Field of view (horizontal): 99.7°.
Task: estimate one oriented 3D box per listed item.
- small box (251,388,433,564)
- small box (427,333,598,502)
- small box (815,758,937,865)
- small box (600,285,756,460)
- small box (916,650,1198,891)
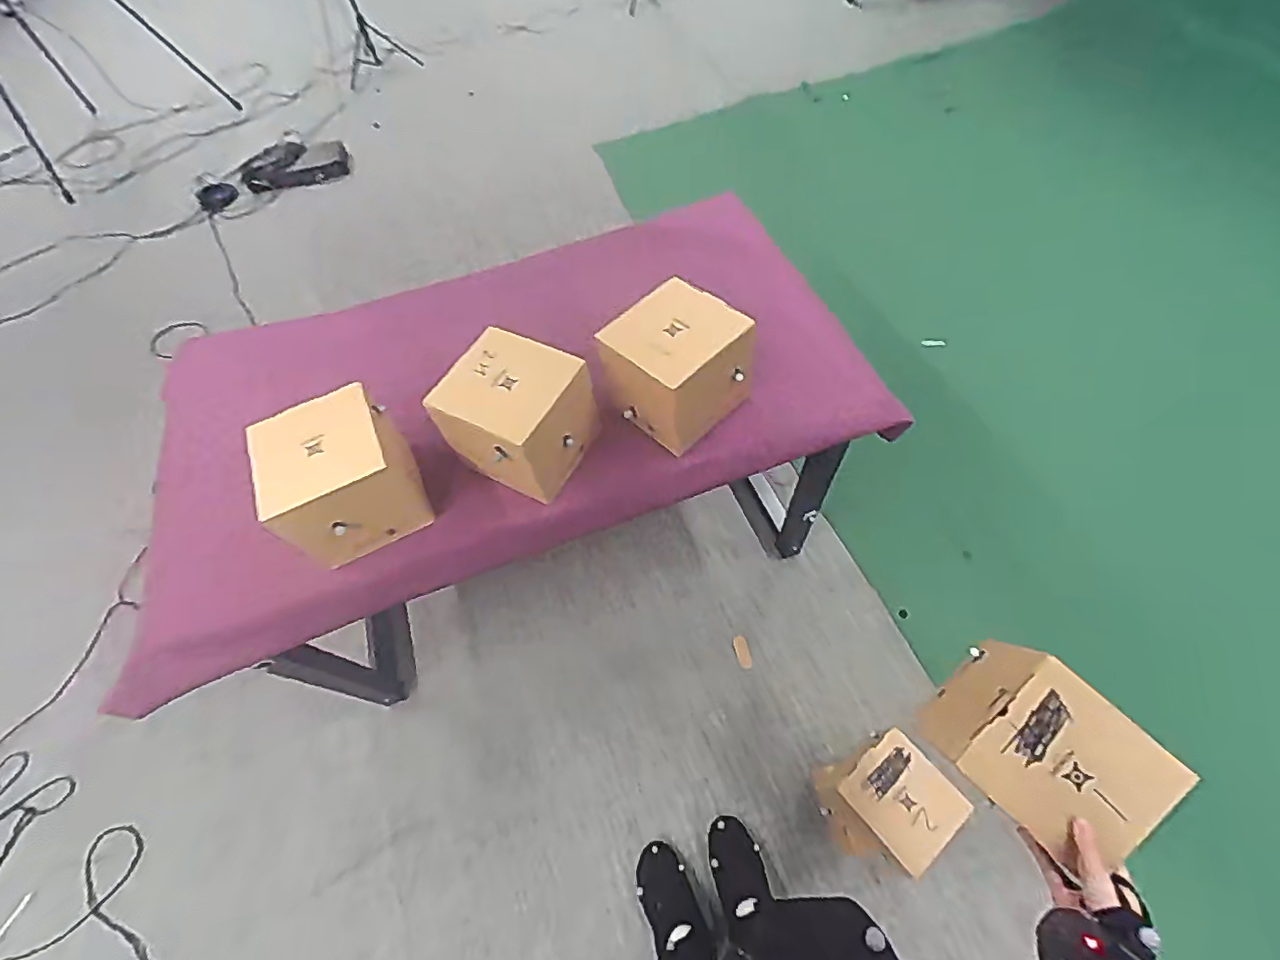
[{"bbox_3d":[-0.431,0.004,0.802,0.168,0.176,0.179,-26,59,-11],"label":"small box"},{"bbox_3d":[-0.181,-0.089,0.834,0.179,0.176,0.168,24,63,18],"label":"small box"},{"bbox_3d":[0.489,0.705,1.157,0.179,0.176,0.168,-11,60,-1],"label":"small box"},{"bbox_3d":[0.061,-0.169,0.863,0.179,0.176,0.168,-41,62,-18],"label":"small box"},{"bbox_3d":[0.477,0.326,0.657,0.179,0.176,0.168,43,90,14],"label":"small box"}]
